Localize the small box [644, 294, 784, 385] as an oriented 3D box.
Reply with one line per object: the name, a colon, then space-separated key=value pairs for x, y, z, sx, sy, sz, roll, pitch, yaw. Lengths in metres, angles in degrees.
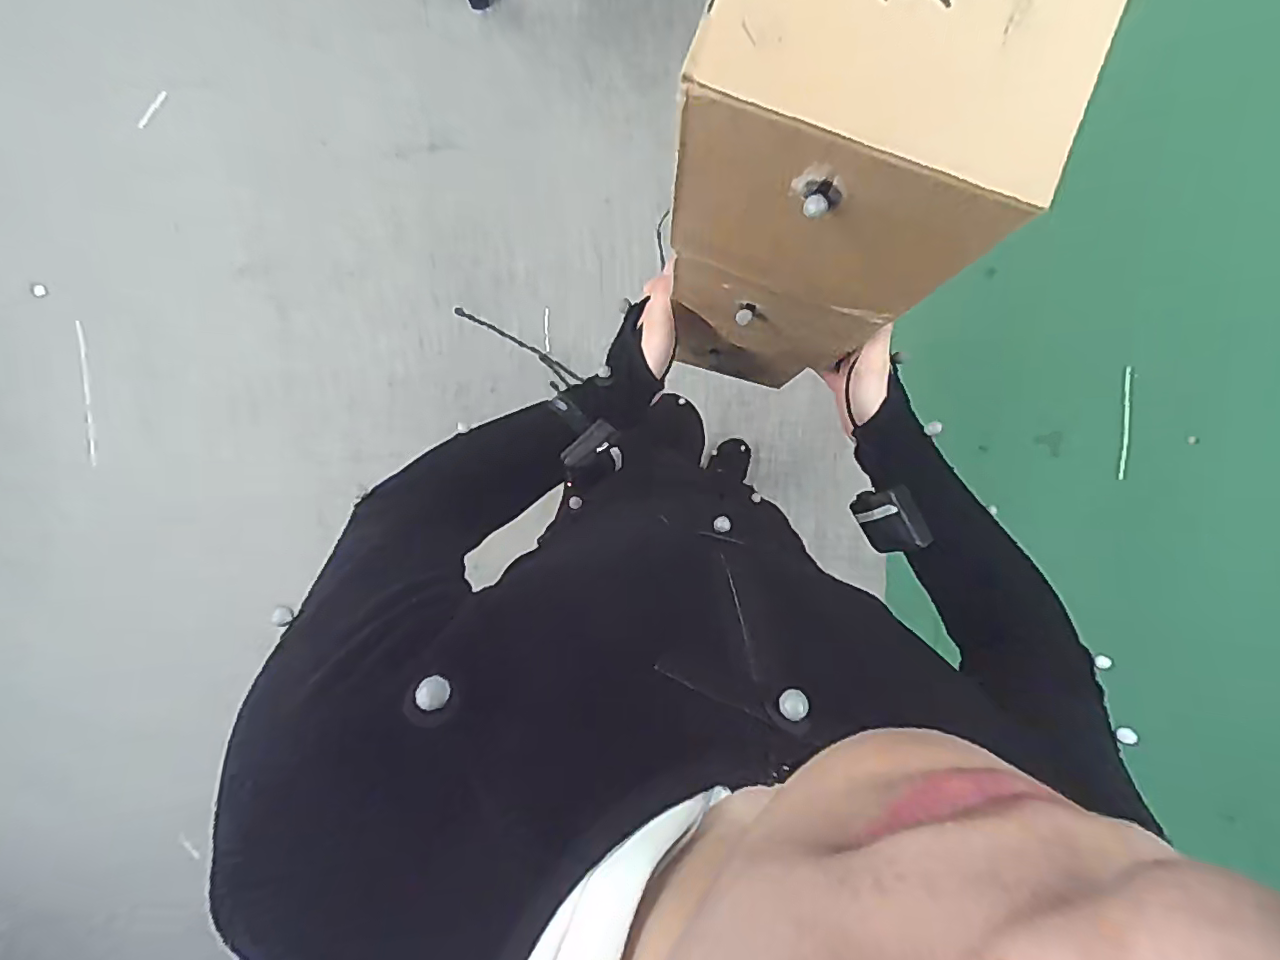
small box: x=0.108 y=-0.226 z=0.634 sx=0.168 sy=0.176 sz=0.179 roll=17 pitch=89 yaw=0

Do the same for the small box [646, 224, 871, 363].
small box: x=0.112 y=-0.217 z=0.470 sx=0.179 sy=0.176 sz=0.168 roll=19 pitch=89 yaw=1

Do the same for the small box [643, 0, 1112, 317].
small box: x=0.111 y=-0.216 z=0.306 sx=0.179 sy=0.176 sz=0.168 roll=23 pitch=89 yaw=0
